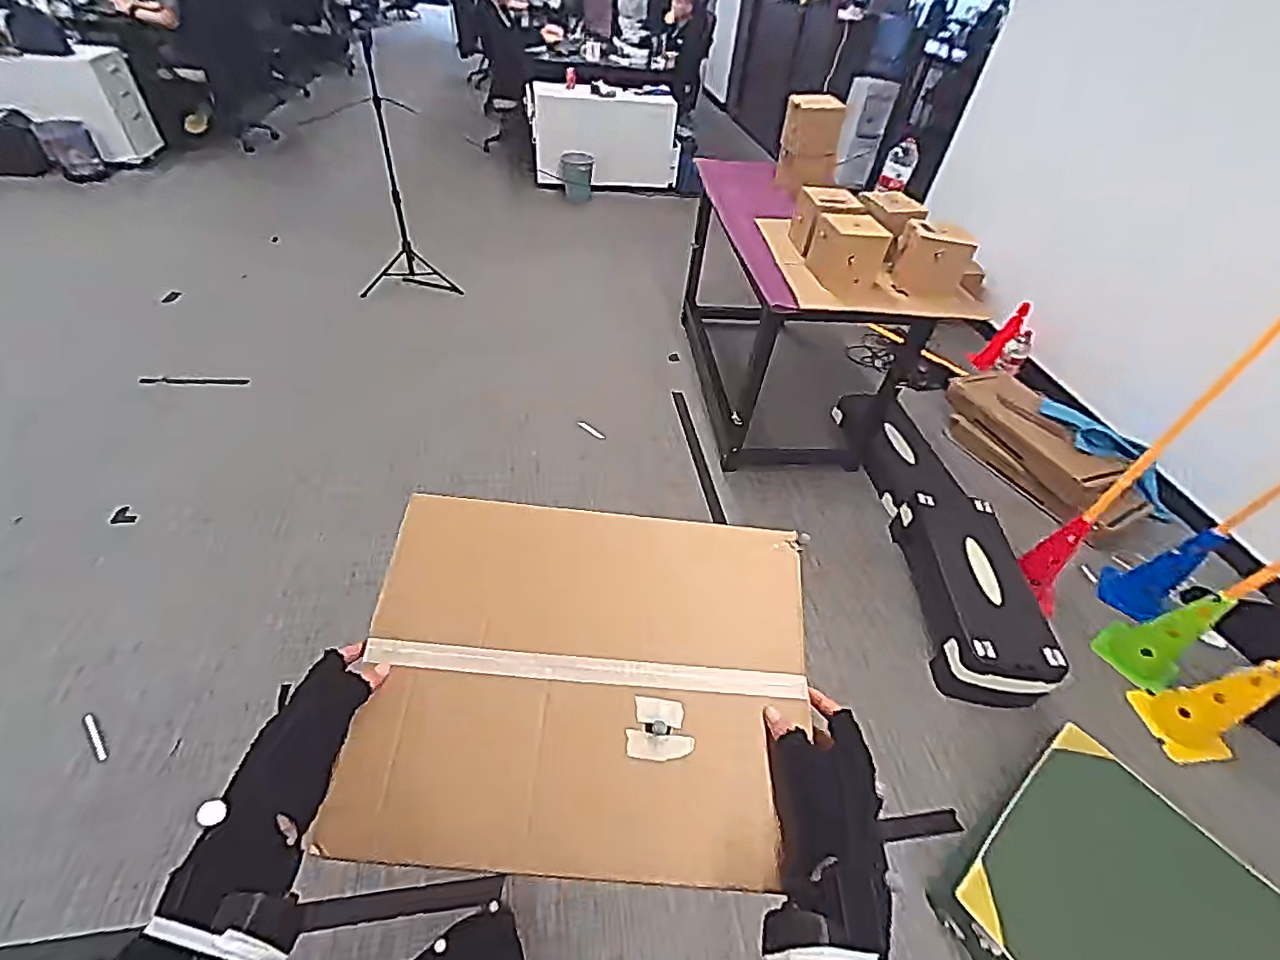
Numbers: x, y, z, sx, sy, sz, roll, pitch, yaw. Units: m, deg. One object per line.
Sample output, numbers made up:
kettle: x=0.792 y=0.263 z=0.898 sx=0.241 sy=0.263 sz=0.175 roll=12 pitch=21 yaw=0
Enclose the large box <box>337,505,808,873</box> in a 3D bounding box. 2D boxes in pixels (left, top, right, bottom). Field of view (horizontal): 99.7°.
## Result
large box: x=-0.059 y=0.247 z=0.649 sx=0.408 sy=0.320 sz=0.320 roll=6 pitch=64 yaw=-3
